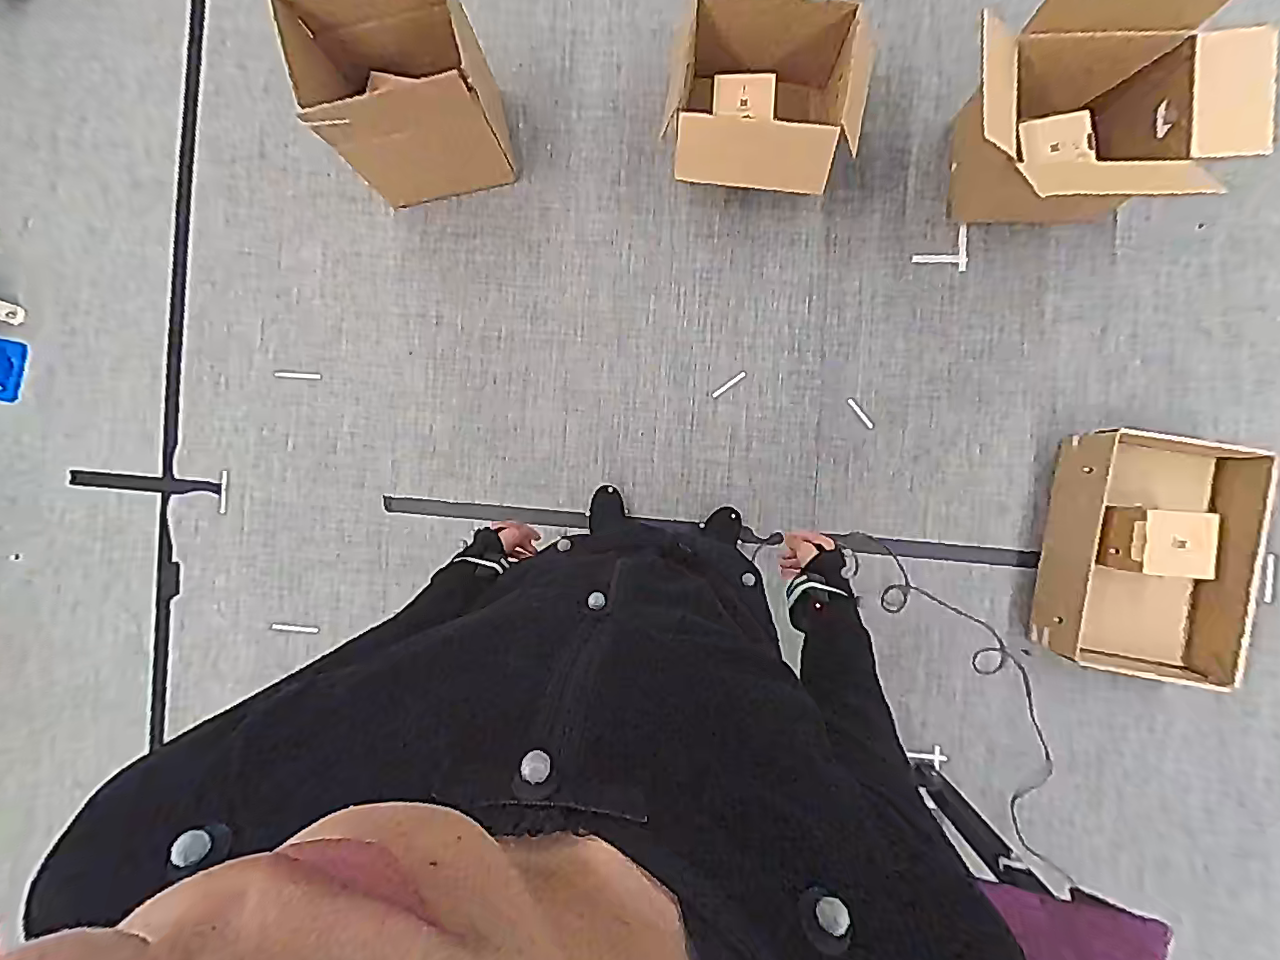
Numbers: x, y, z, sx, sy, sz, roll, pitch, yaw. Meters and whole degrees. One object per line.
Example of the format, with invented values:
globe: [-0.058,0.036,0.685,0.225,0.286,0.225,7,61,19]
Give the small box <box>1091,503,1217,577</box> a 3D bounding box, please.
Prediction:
small box: [1.340,0.151,1.423,0.179,0.176,0.168,4,92,4]
